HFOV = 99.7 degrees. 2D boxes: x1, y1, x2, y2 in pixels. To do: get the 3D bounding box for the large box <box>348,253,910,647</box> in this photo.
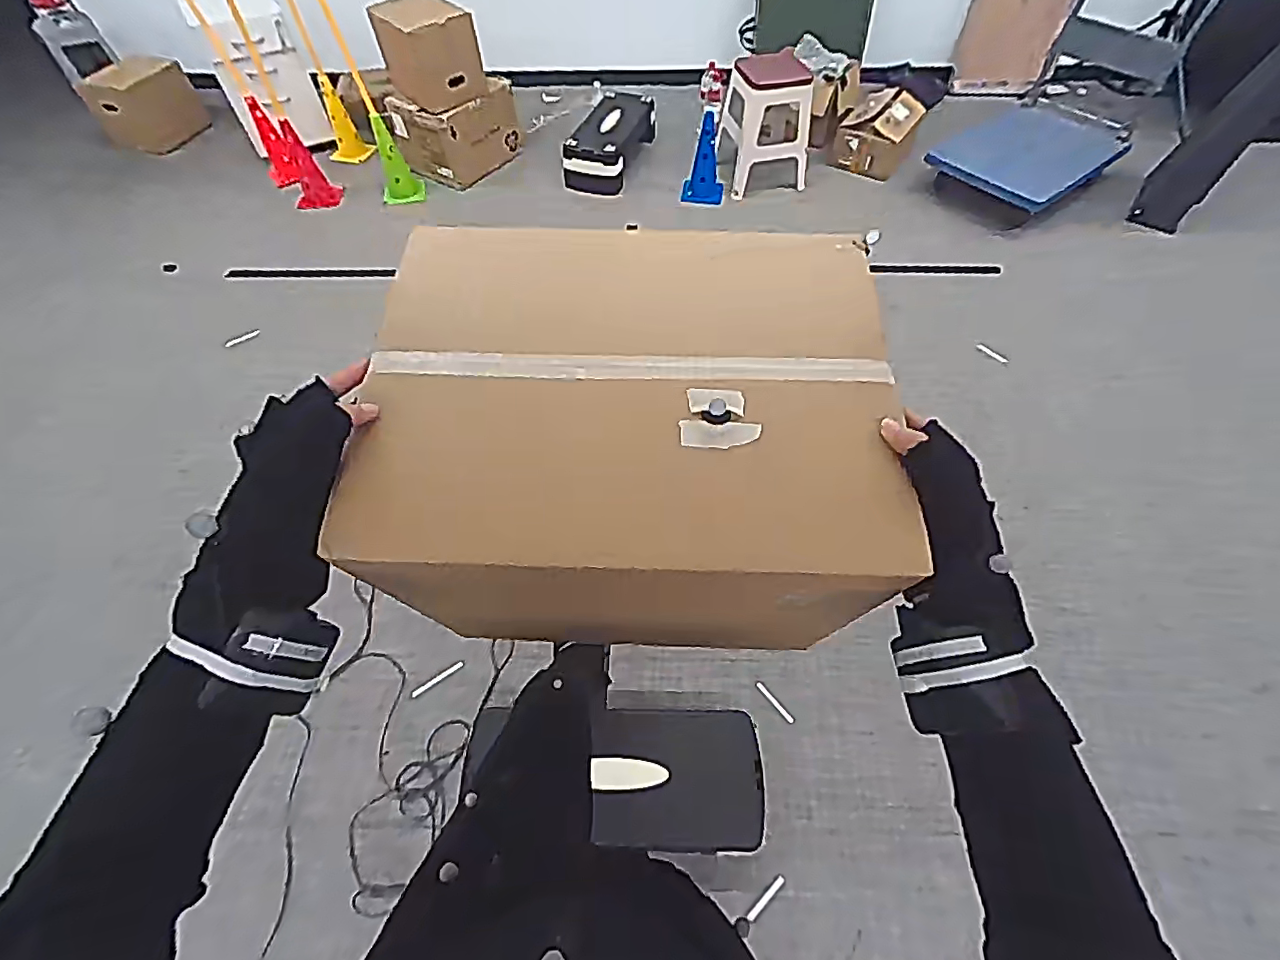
[{"bbox_3d":[-0.006,-0.010,0.576,0.408,0.320,0.320,2,63,1],"label":"large box"}]
